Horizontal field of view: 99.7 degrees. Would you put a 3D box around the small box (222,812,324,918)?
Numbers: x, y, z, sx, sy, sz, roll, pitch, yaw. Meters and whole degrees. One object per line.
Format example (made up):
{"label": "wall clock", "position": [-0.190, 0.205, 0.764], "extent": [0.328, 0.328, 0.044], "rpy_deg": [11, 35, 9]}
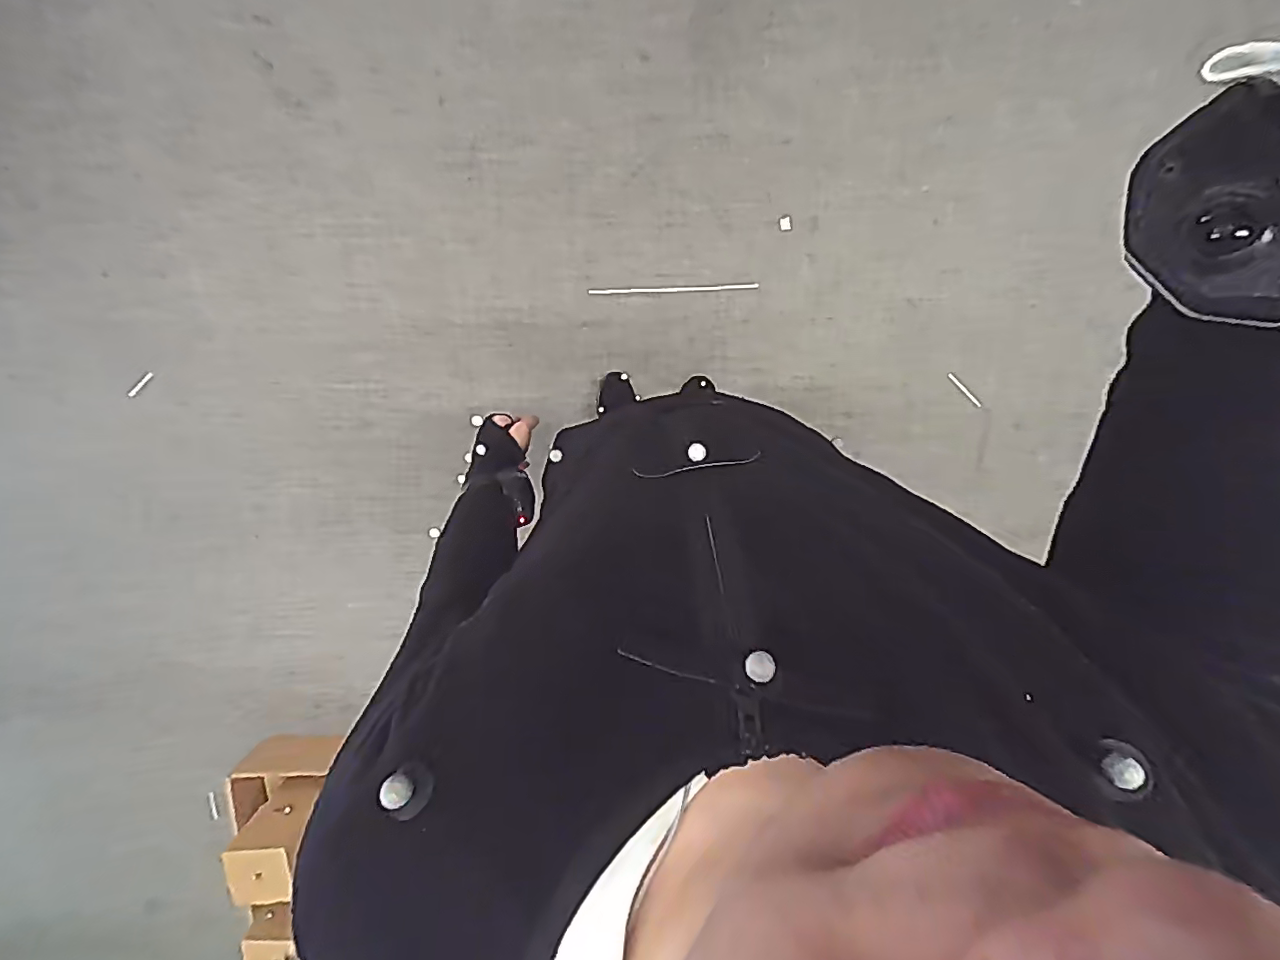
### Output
{"label": "small box", "position": [-1.012, 1.069, 1.509], "extent": [0.168, 0.176, 0.179], "rpy_deg": [-2, 100, -2]}
